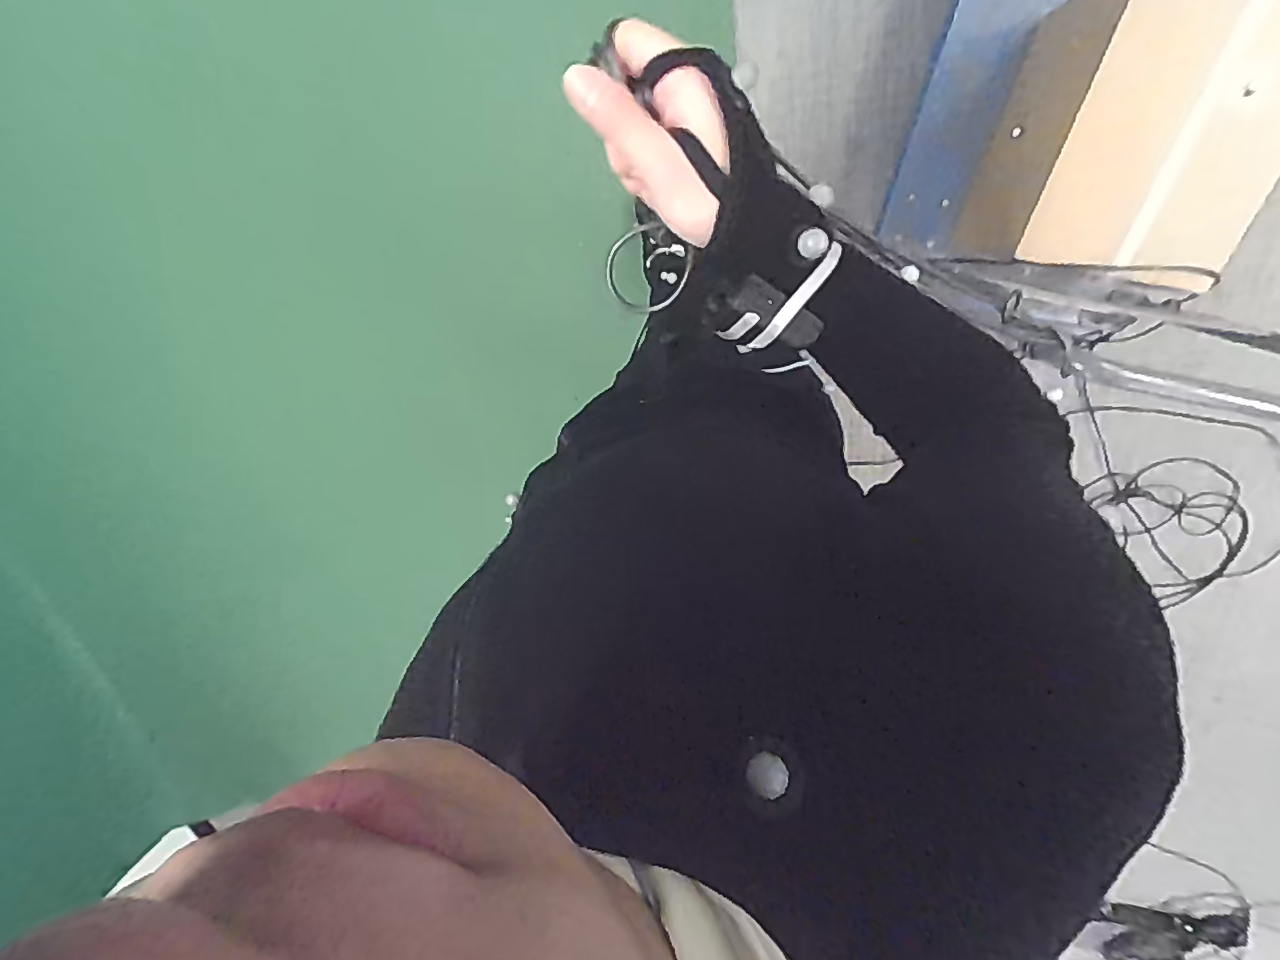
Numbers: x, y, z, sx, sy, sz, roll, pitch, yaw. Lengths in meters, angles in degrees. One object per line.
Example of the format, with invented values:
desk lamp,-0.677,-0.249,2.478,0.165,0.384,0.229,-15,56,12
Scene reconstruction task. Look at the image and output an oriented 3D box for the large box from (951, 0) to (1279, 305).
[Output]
large box,0.823,-0.550,0.942,0.320,0.320,0.408,13,115,3
